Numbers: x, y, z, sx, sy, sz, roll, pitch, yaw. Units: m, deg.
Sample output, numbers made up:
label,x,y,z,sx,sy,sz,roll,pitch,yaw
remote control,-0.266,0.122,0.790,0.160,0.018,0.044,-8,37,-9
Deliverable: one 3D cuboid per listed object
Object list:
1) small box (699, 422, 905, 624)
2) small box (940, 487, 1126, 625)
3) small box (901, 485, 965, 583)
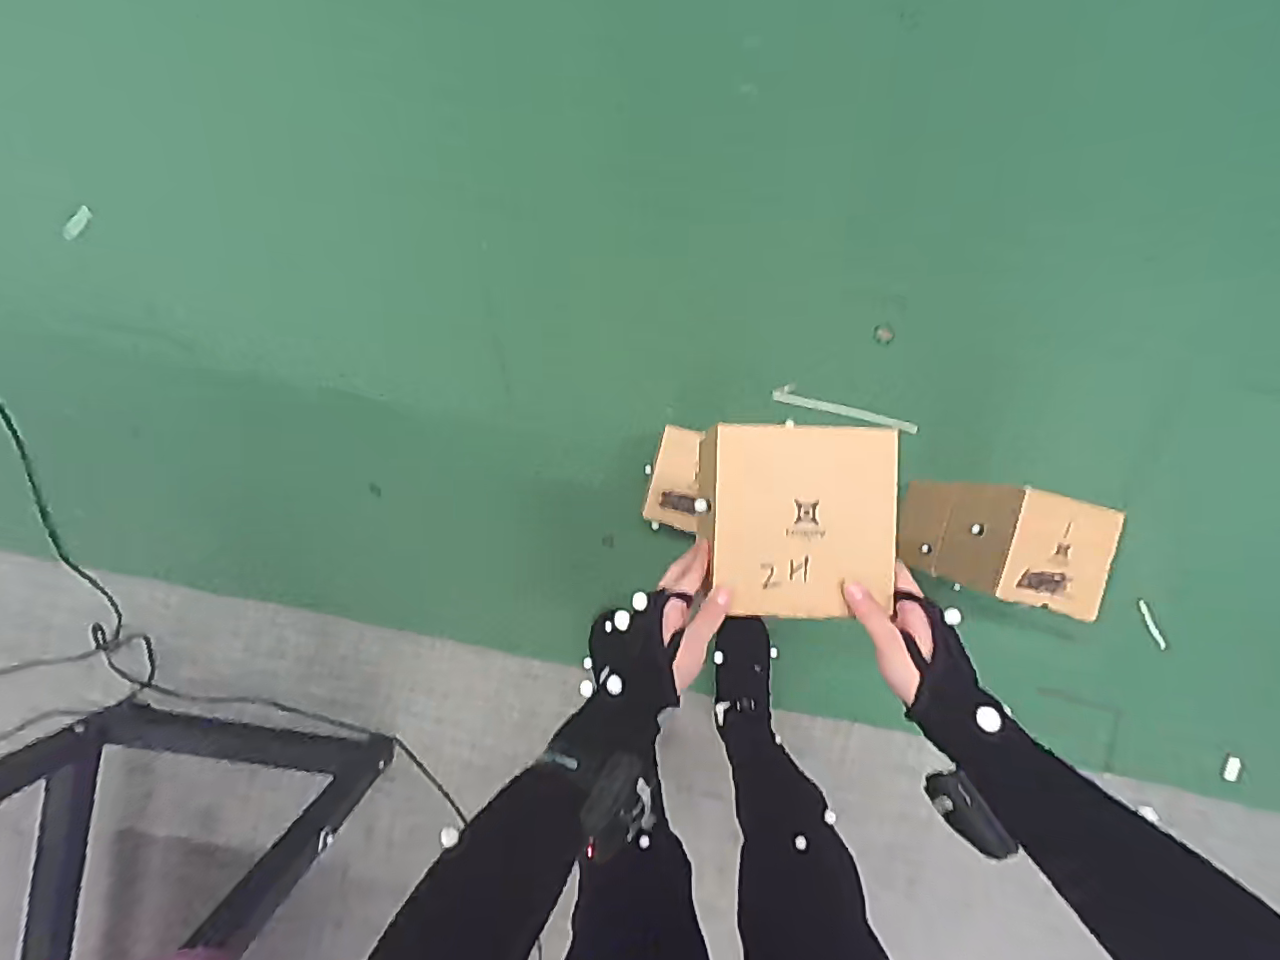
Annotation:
label,x,y,z,sx,sy,sz,roll,pitch,yaw
small box,0.152,0.039,0.559,0.168,0.176,0.179,2,90,1
small box,0.640,0.117,0.906,0.168,0.176,0.179,15,91,-3
small box,0.636,0.111,1.069,0.168,0.176,0.179,14,92,-2
